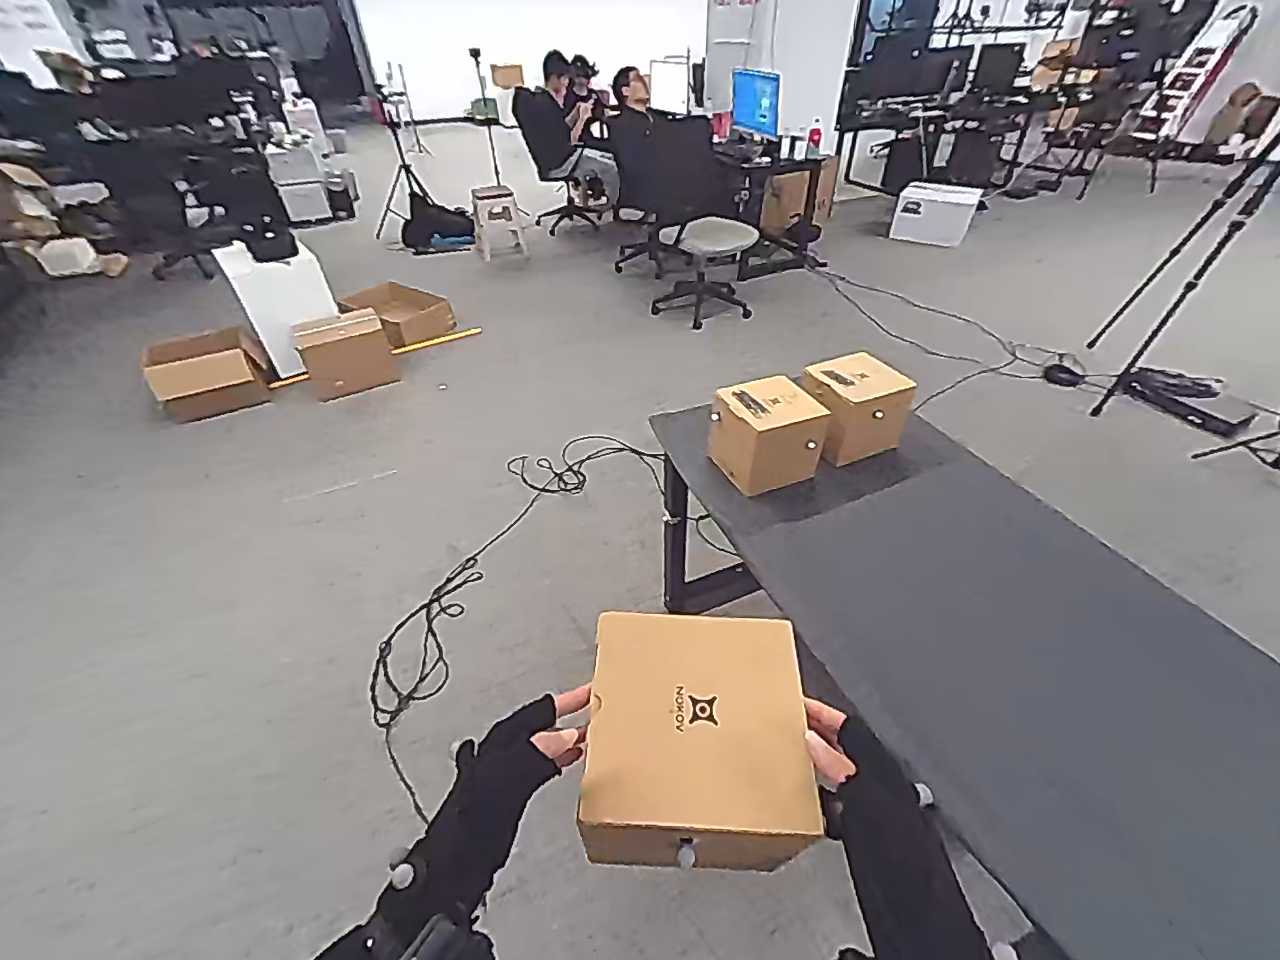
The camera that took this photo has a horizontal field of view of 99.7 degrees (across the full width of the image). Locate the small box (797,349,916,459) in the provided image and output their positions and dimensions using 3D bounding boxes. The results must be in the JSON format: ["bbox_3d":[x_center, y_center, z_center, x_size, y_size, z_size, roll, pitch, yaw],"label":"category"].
[{"bbox_3d":[0.473,-0.169,1.217,0.179,0.176,0.168,-17,44,-18],"label":"small box"}]

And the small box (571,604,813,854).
[{"bbox_3d":[0.039,0.230,0.496,0.179,0.176,0.168,1,48,1],"label":"small box"}]
